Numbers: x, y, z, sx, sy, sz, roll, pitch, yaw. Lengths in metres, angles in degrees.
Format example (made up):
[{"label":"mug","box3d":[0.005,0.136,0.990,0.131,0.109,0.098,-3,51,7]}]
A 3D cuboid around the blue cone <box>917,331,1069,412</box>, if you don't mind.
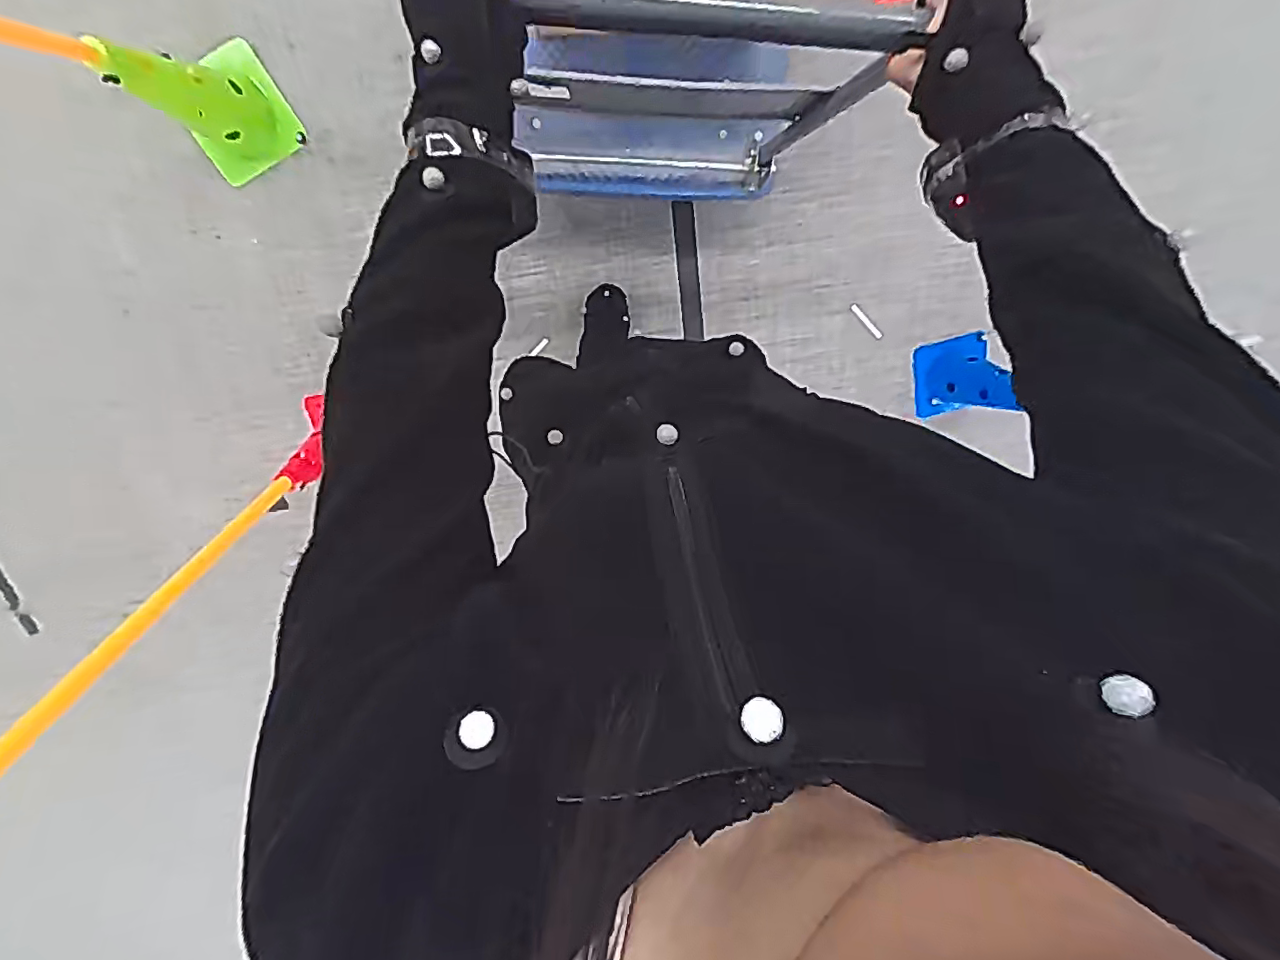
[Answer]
[{"label":"blue cone","box3d":[0.851,-0.228,1.288,0.193,0.380,0.192,-14,111,-1]}]
